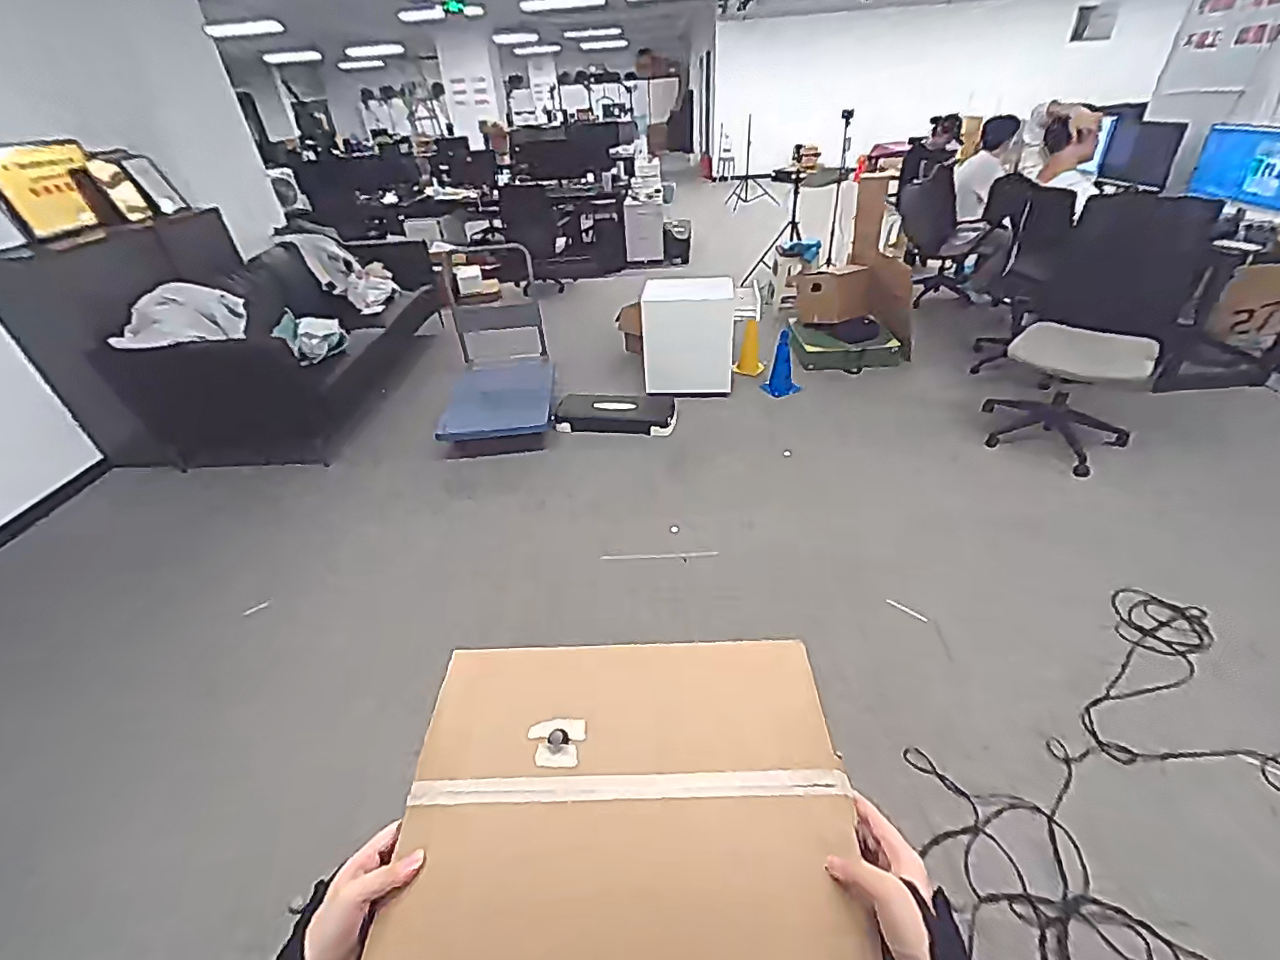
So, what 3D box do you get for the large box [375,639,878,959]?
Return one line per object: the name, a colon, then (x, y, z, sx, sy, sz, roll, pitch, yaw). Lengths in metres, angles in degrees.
large box: (-0.003, 0.411, 0.614, 0.408, 0.320, 0.320, -4, 39, 3)
